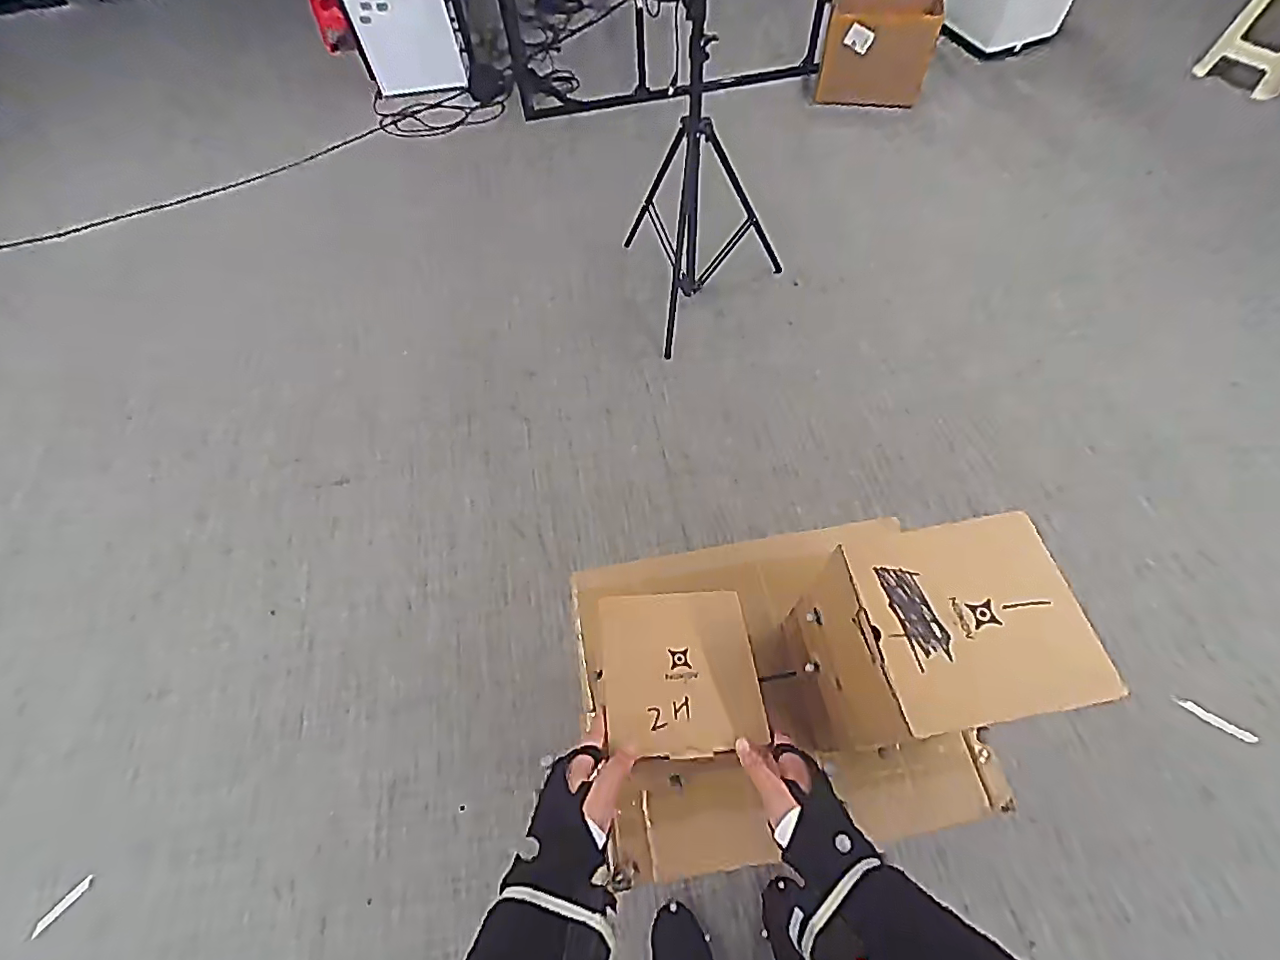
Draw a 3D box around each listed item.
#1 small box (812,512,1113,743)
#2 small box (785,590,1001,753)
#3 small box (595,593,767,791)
[{"bbox_3d":[0.281,0.152,0.530,0.179,0.176,0.168,-11,61,-1],"label":"small box"},{"bbox_3d":[0.292,0.231,0.675,0.168,0.176,0.179,-12,63,0],"label":"small box"},{"bbox_3d":[0.033,0.252,0.645,0.168,0.176,0.179,-1,51,-7],"label":"small box"}]
